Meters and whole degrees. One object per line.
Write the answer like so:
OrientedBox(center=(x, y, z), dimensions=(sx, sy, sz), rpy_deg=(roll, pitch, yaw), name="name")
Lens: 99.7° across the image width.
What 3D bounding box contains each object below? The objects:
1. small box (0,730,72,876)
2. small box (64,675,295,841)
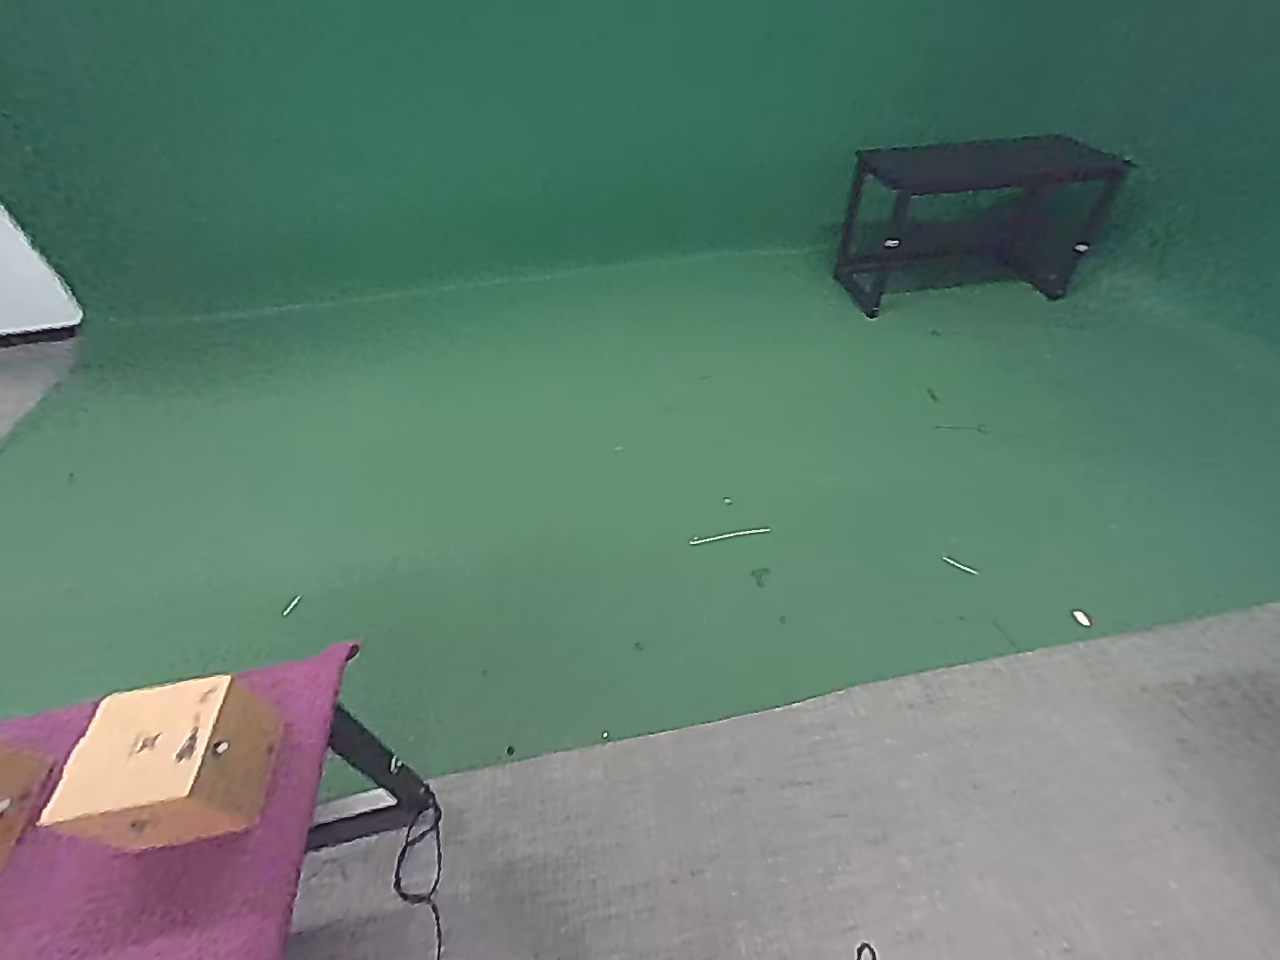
OrientedBox(center=(-1.017, 0.484, 0.784), dimensions=(0.179, 0.176, 0.168), rpy_deg=(-11, 49, -7), name="small box")
OrientedBox(center=(-0.669, 0.421, 0.815), dimensions=(0.179, 0.176, 0.168), rpy_deg=(-10, 47, -5), name="small box")
